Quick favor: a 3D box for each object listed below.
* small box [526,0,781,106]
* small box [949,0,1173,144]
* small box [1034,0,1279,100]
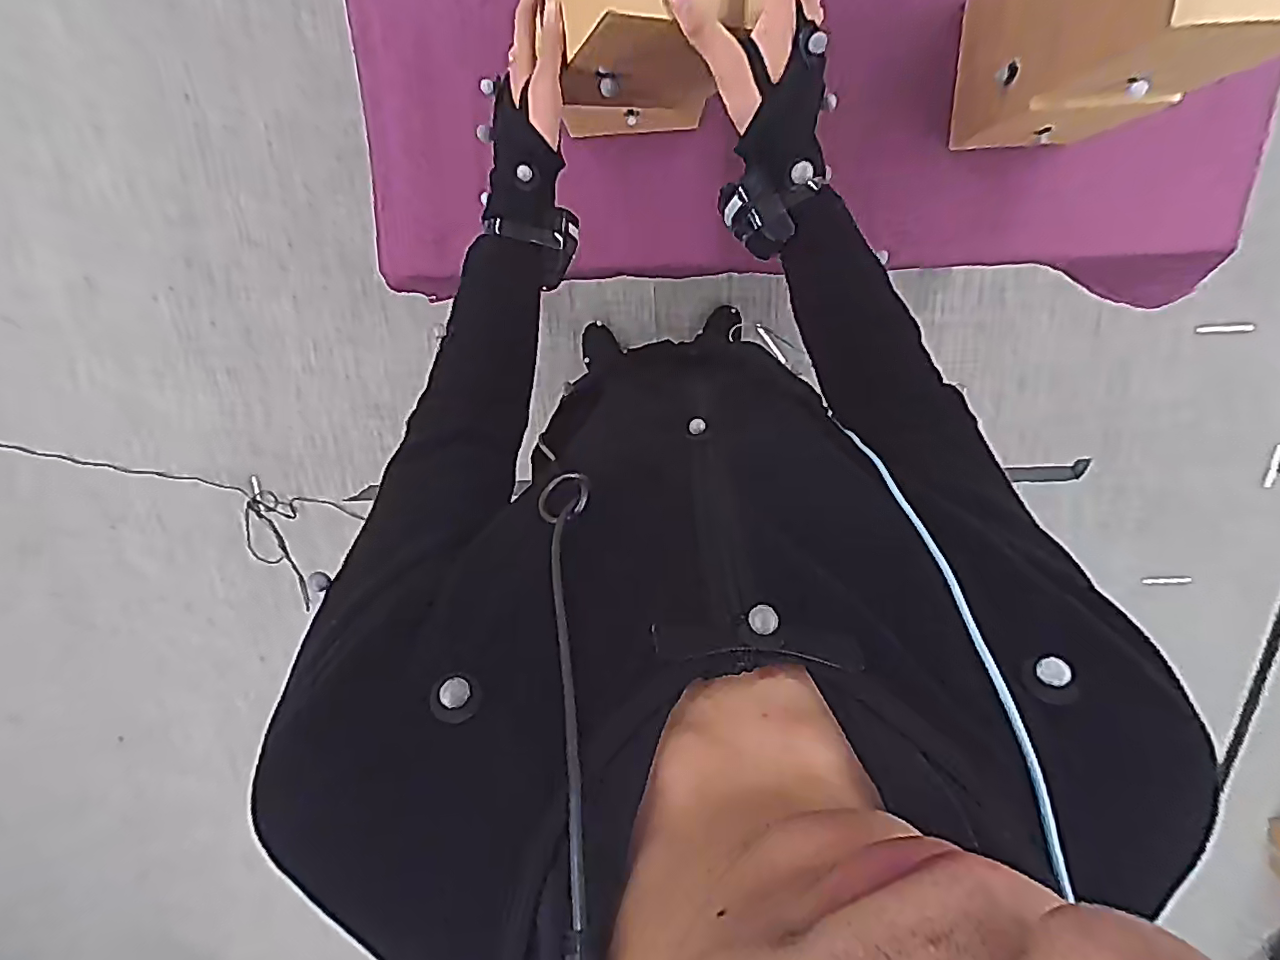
[{"bbox_3d":[0.007,-0.435,0.449,0.176,0.179,0.168,-13,110,-23],"label":"small box"},{"bbox_3d":[0.500,-0.517,0.645,0.168,0.176,0.179,-2,108,1],"label":"small box"},{"bbox_3d":[0.500,-0.474,0.486,0.168,0.176,0.179,-1,109,1],"label":"small box"}]
